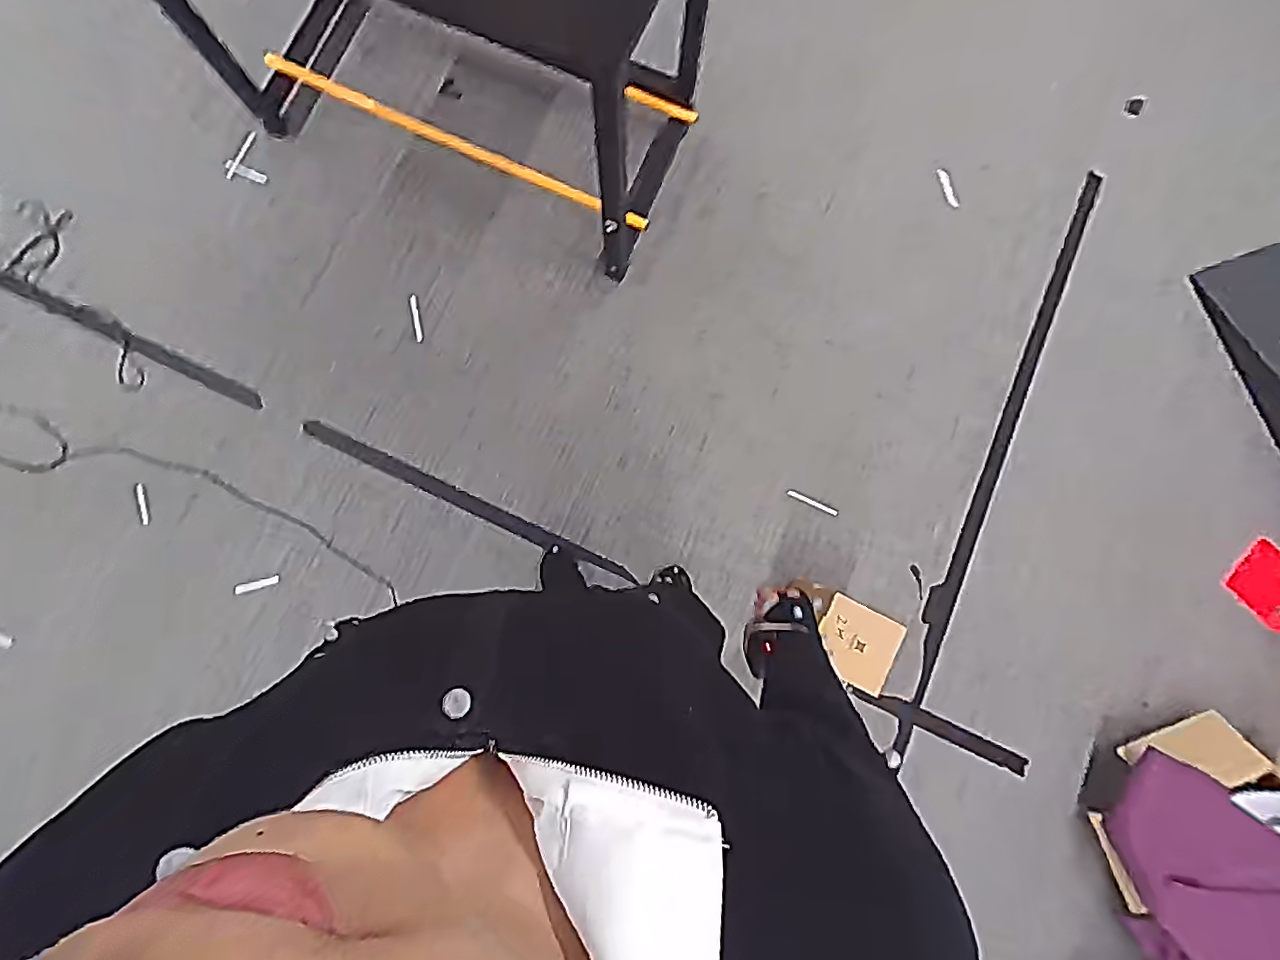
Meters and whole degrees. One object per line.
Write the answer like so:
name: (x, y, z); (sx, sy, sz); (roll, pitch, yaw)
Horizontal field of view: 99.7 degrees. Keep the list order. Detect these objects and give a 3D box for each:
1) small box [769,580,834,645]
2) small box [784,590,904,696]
small box: (0.459, 0.377, 1.420); (0.168, 0.176, 0.179); (28, 84, 2)
small box: (0.465, 0.365, 1.256); (0.179, 0.176, 0.168); (28, 83, 2)
